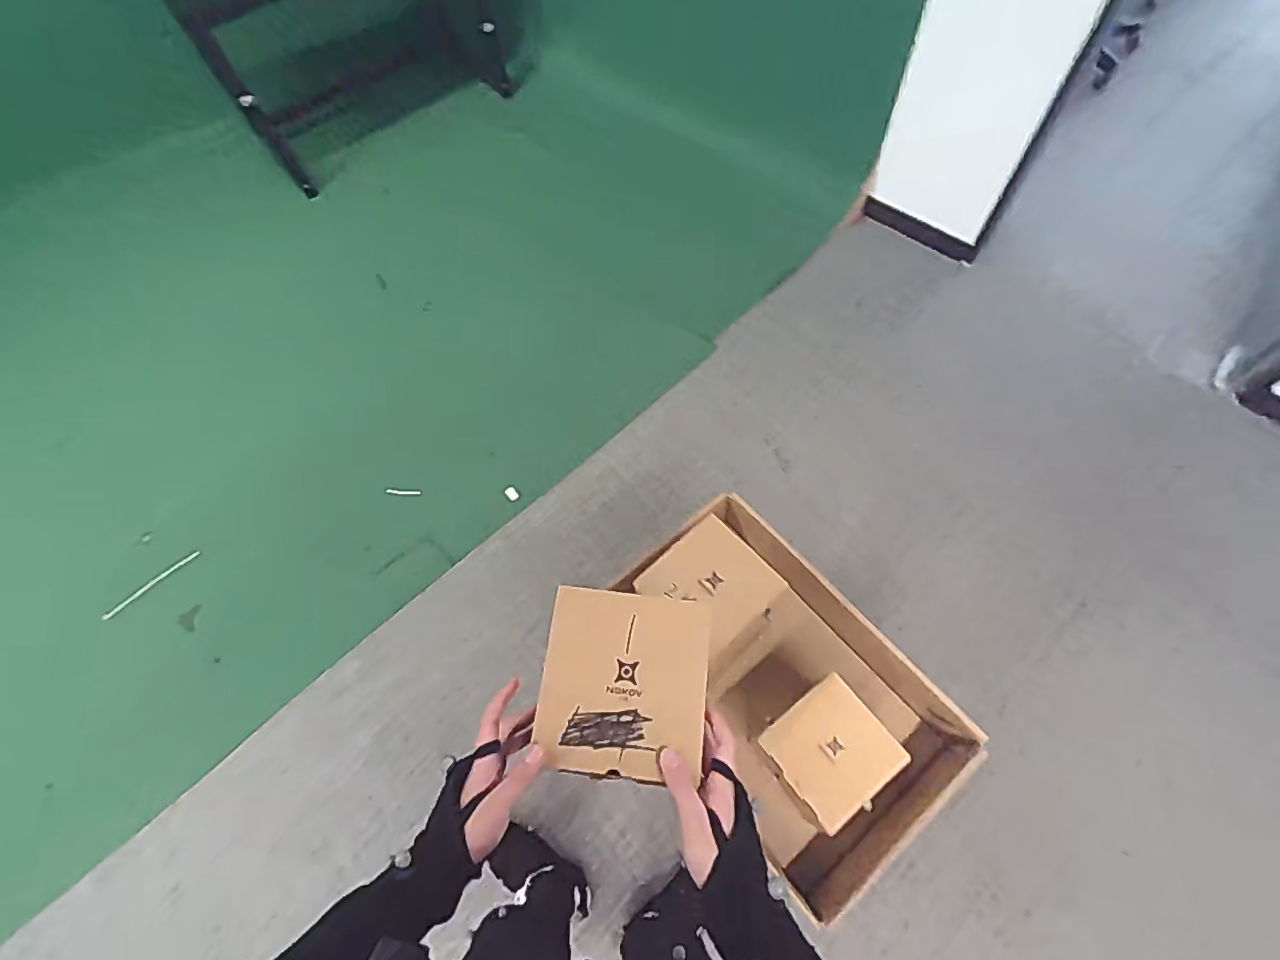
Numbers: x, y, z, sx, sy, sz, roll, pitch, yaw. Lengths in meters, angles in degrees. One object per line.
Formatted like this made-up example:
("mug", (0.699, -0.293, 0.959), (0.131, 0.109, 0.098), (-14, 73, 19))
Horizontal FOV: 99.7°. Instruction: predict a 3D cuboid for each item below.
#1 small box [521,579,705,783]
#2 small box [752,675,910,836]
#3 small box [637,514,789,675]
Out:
("small box", (-0.023, 0.222, 0.607), (0.168, 0.176, 0.179), (6, 67, 1))
("small box", (0.310, 0.461, 0.922), (0.179, 0.176, 0.168), (-35, 65, -12))
("small box", (0.115, 0.193, 0.891), (0.179, 0.176, 0.168), (-39, 65, -14))
